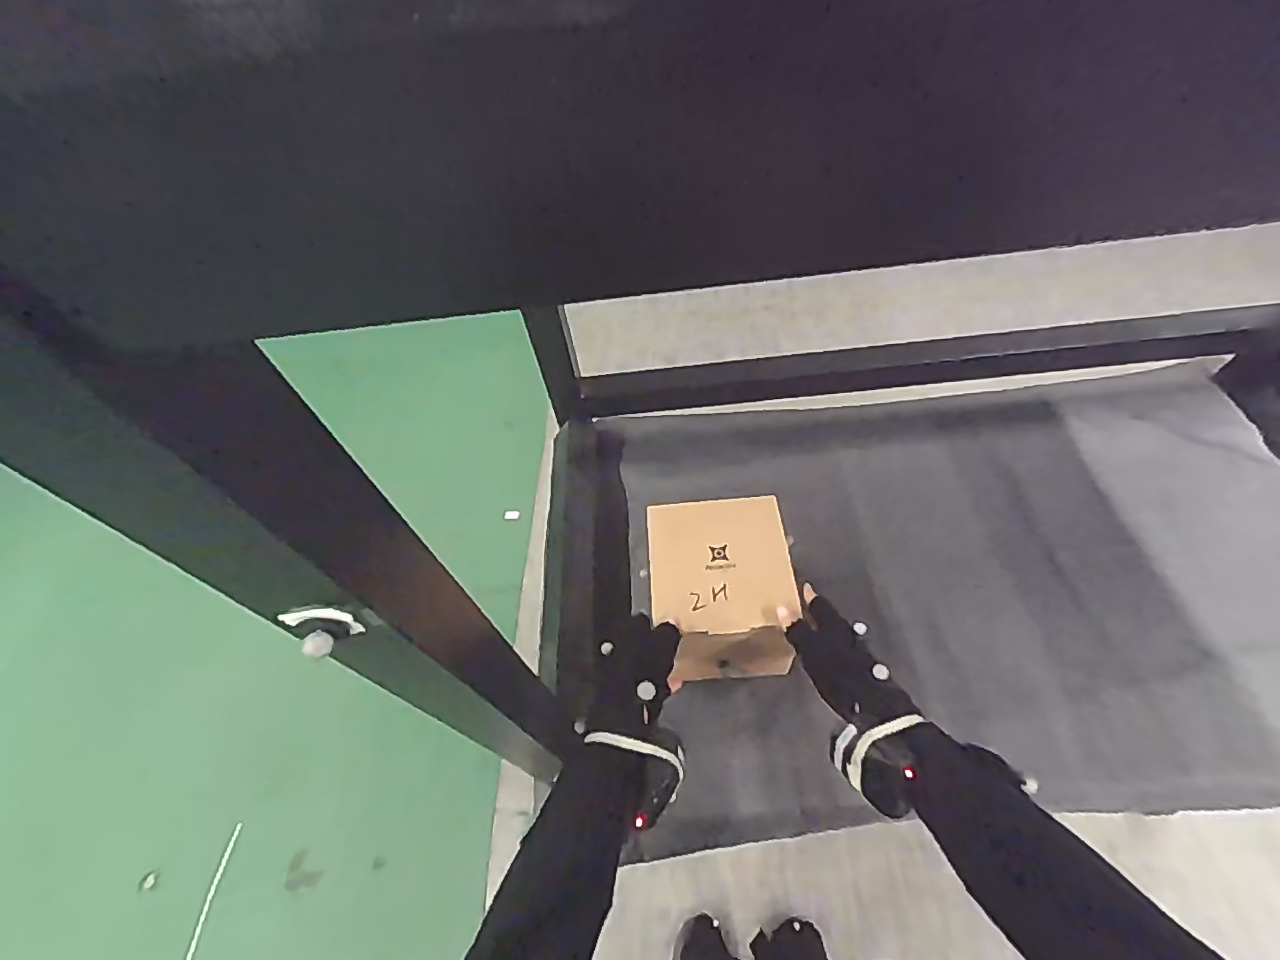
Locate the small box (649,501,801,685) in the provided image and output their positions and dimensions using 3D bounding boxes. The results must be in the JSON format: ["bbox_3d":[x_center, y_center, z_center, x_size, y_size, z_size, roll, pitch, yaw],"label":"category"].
[{"bbox_3d":[0.100,0.149,0.702,0.168,0.176,0.179,-5,52,4],"label":"small box"}]
